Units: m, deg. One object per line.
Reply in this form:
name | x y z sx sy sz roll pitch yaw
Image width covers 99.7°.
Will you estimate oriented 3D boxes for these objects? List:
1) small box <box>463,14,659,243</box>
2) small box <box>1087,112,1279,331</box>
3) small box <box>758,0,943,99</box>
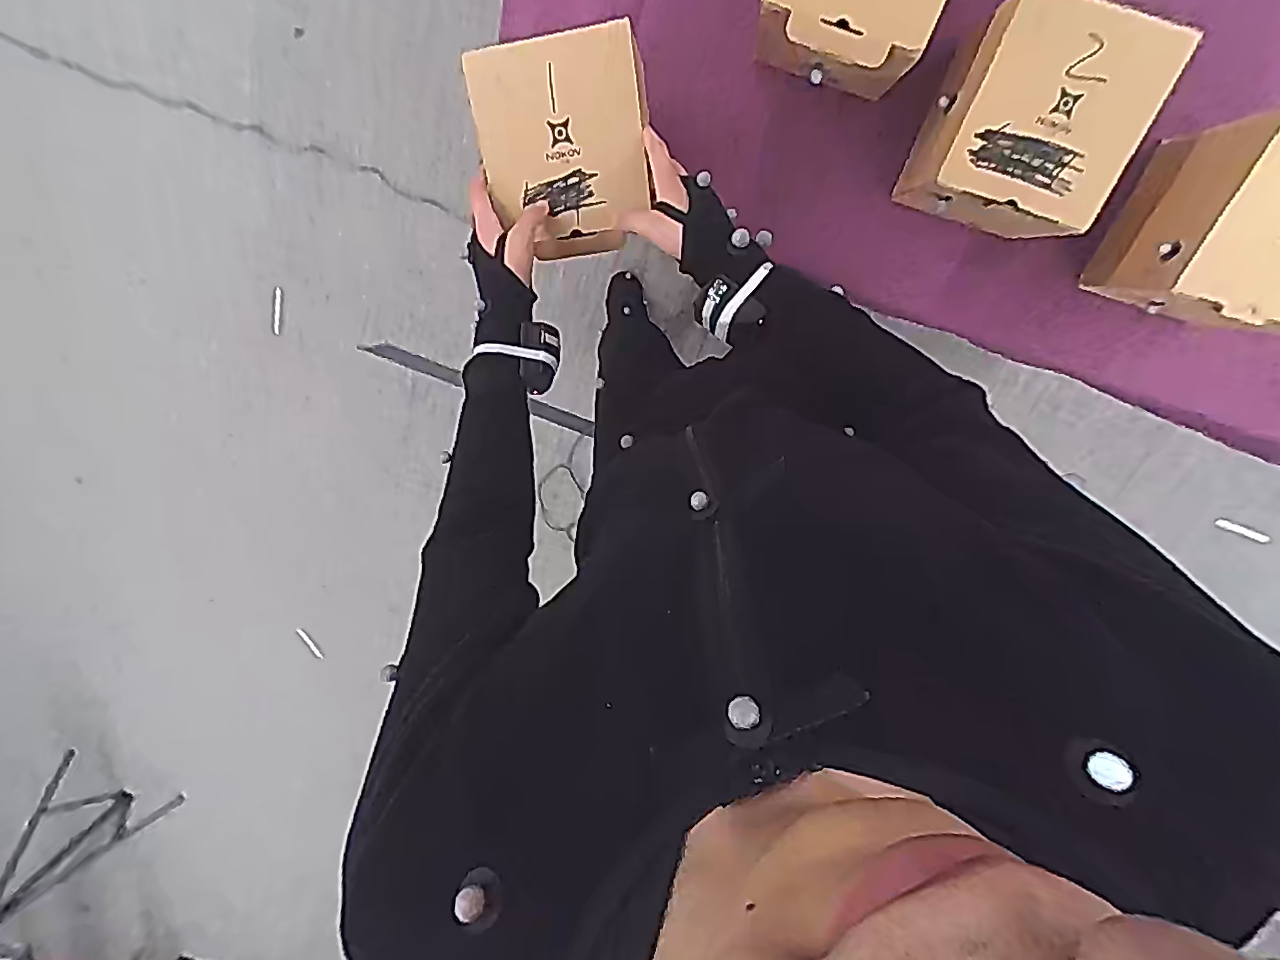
small box | -0.071 -0.372 0.606 0.168 0.176 0.179 -5 113 7
small box | 0.666 -0.281 0.605 0.168 0.176 0.179 18 114 1
small box | 0.230 -0.540 0.562 0.168 0.176 0.179 20 114 1
